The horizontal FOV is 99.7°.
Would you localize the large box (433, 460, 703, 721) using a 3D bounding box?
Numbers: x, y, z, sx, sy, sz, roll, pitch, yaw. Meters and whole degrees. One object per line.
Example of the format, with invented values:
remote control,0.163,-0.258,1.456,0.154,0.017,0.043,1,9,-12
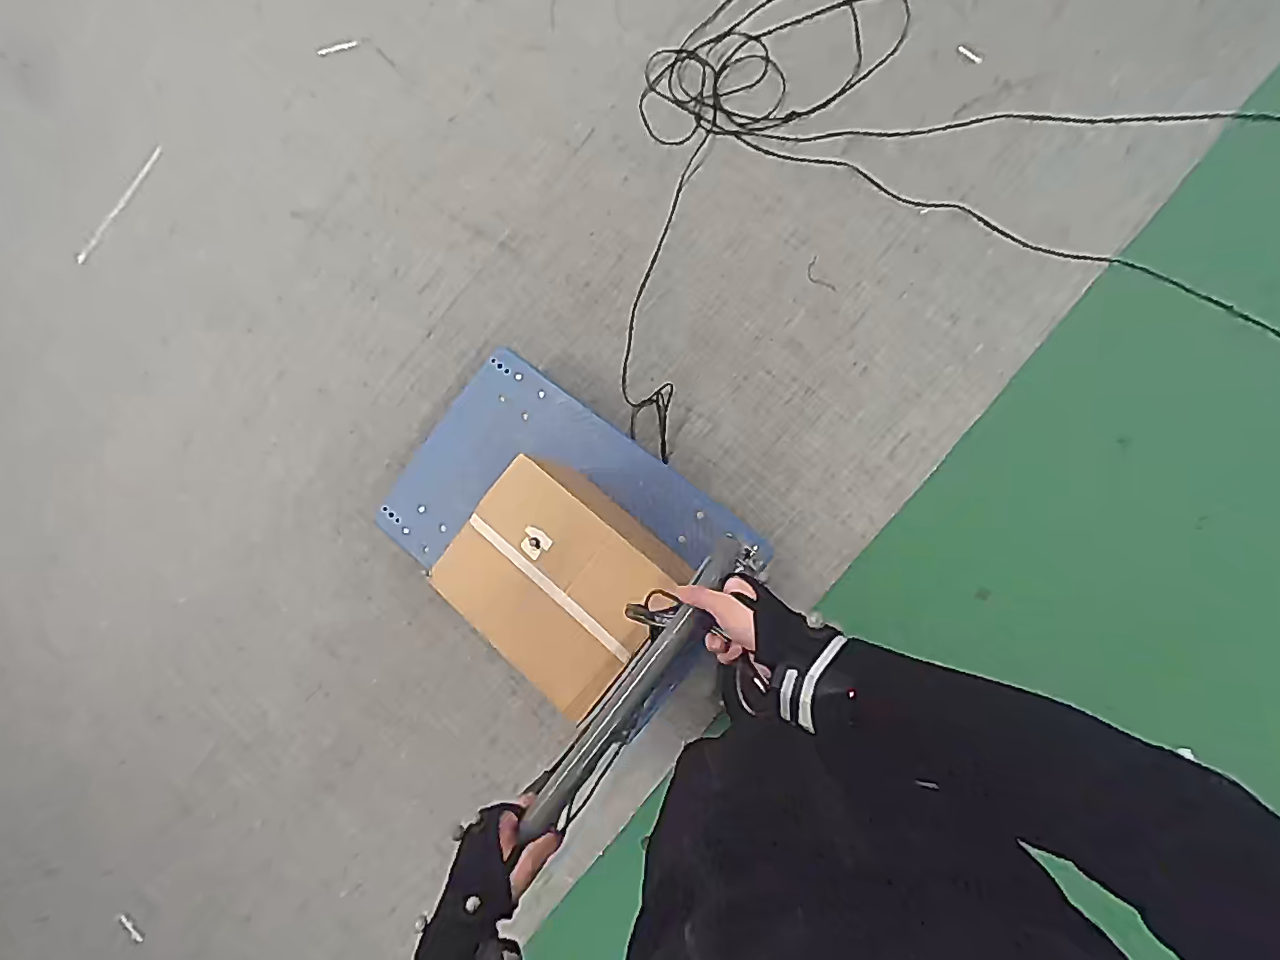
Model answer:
large box,-0.129,0.212,1.143,0.408,0.320,0.320,39,93,15
